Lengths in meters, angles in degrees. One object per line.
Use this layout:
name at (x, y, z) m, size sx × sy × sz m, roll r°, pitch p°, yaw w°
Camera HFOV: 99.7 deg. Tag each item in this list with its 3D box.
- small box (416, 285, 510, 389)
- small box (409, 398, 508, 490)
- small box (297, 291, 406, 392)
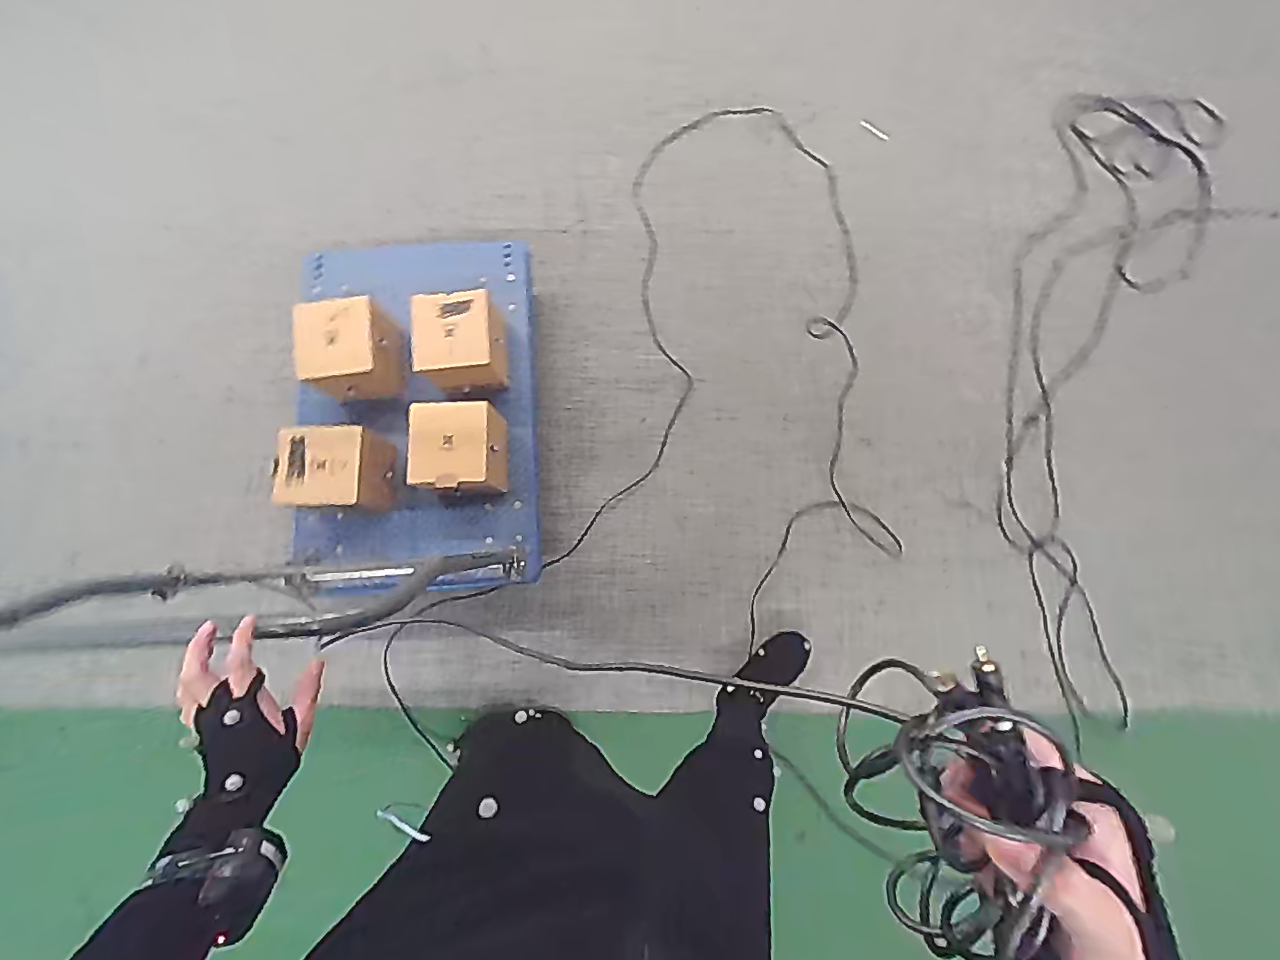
small box at (-0.401, -0.323, 1.244) m, size 0.168 × 0.176 × 0.179 m, roll -4°, pitch 82°, yaw 1°
small box at (-0.398, -0.076, 1.209) m, size 0.168 × 0.176 × 0.179 m, roll -1°, pitch 82°, yaw 0°
small box at (-0.655, -0.309, 1.244) m, size 0.168 × 0.176 × 0.179 m, roll -6°, pitch 82°, yaw -1°
